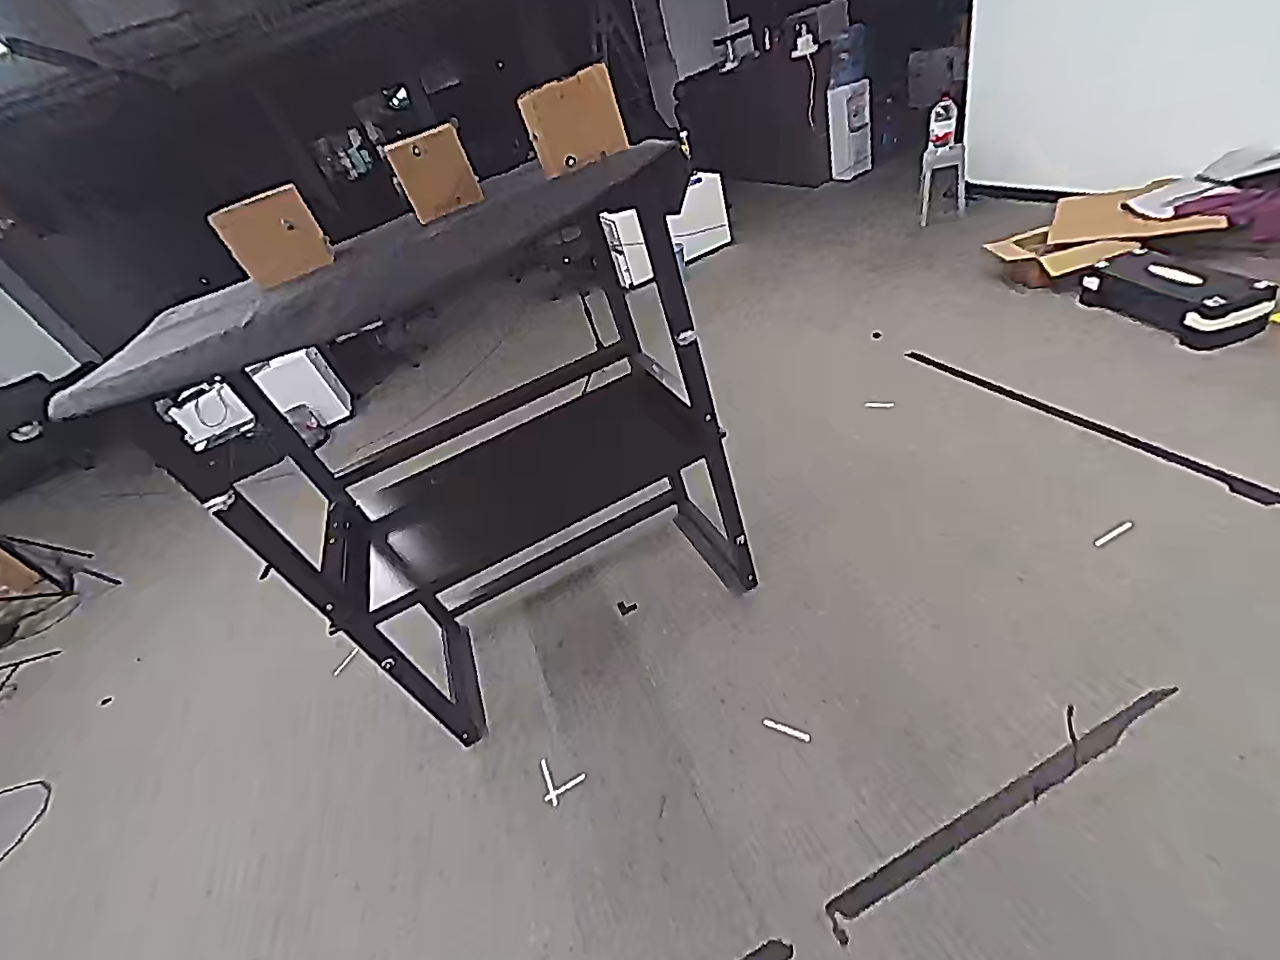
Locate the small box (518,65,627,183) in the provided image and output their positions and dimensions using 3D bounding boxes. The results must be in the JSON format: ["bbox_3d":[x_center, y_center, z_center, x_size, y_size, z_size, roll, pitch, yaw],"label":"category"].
[{"bbox_3d":[-0.145,-0.762,1.177,0.168,0.176,0.179,-26,33,-6],"label":"small box"}]

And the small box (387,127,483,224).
[{"bbox_3d":[-0.514,-0.761,1.358,0.168,0.176,0.179,-27,37,-9],"label":"small box"}]
